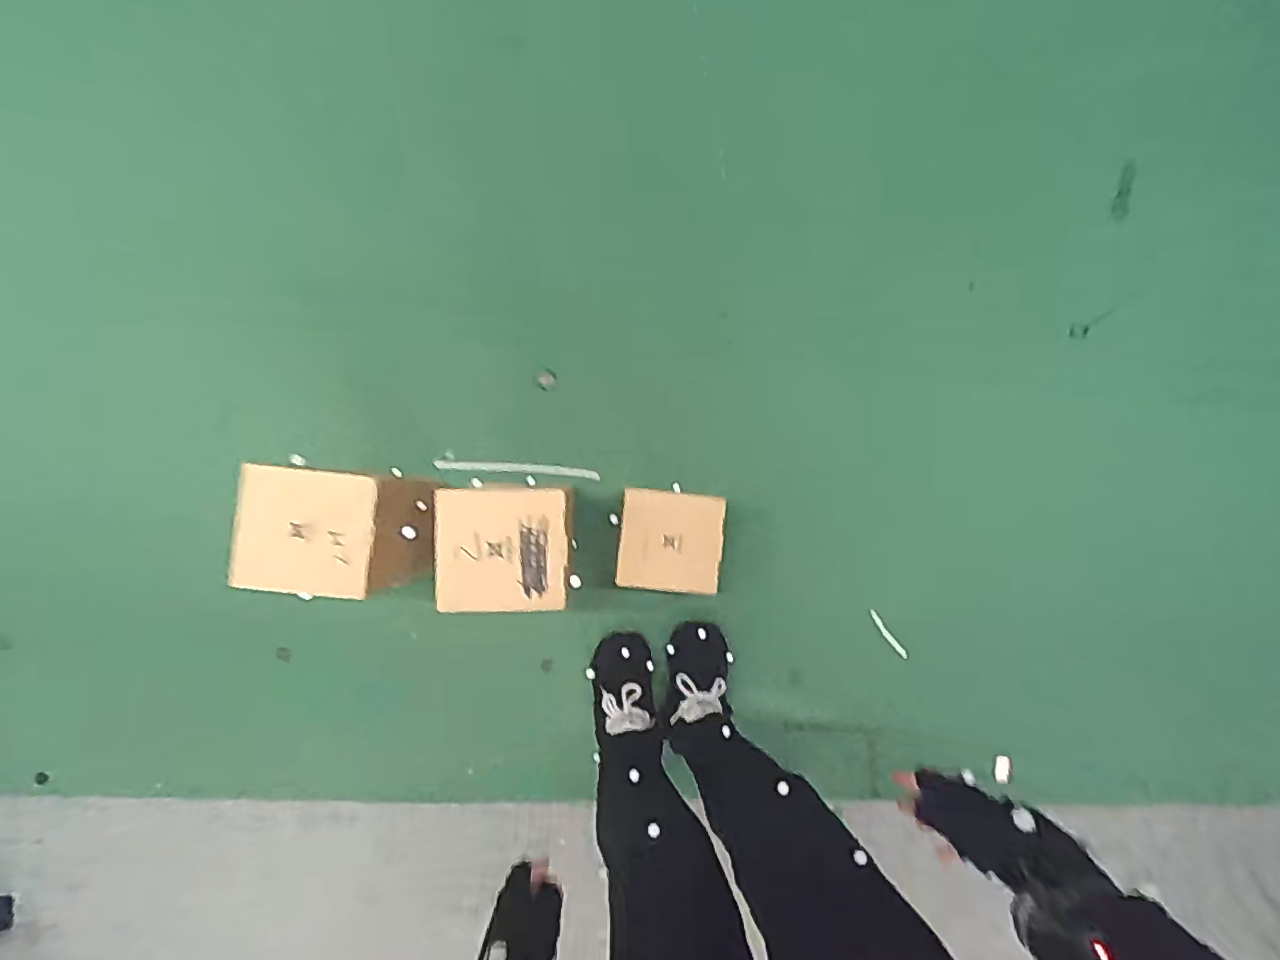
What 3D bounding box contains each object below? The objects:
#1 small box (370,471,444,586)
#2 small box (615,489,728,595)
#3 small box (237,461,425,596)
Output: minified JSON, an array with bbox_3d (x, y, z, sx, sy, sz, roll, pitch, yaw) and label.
[{"bbox_3d":[-0.465,0.079,0.969,0.168,0.176,0.179,8,89,-3],"label":"small box"},{"bbox_3d":[0.050,0.107,1.000,0.179,0.176,0.168,7,89,-3],"label":"small box"},{"bbox_3d":[-0.446,0.068,0.805,0.179,0.176,0.168,7,89,-3],"label":"small box"}]
